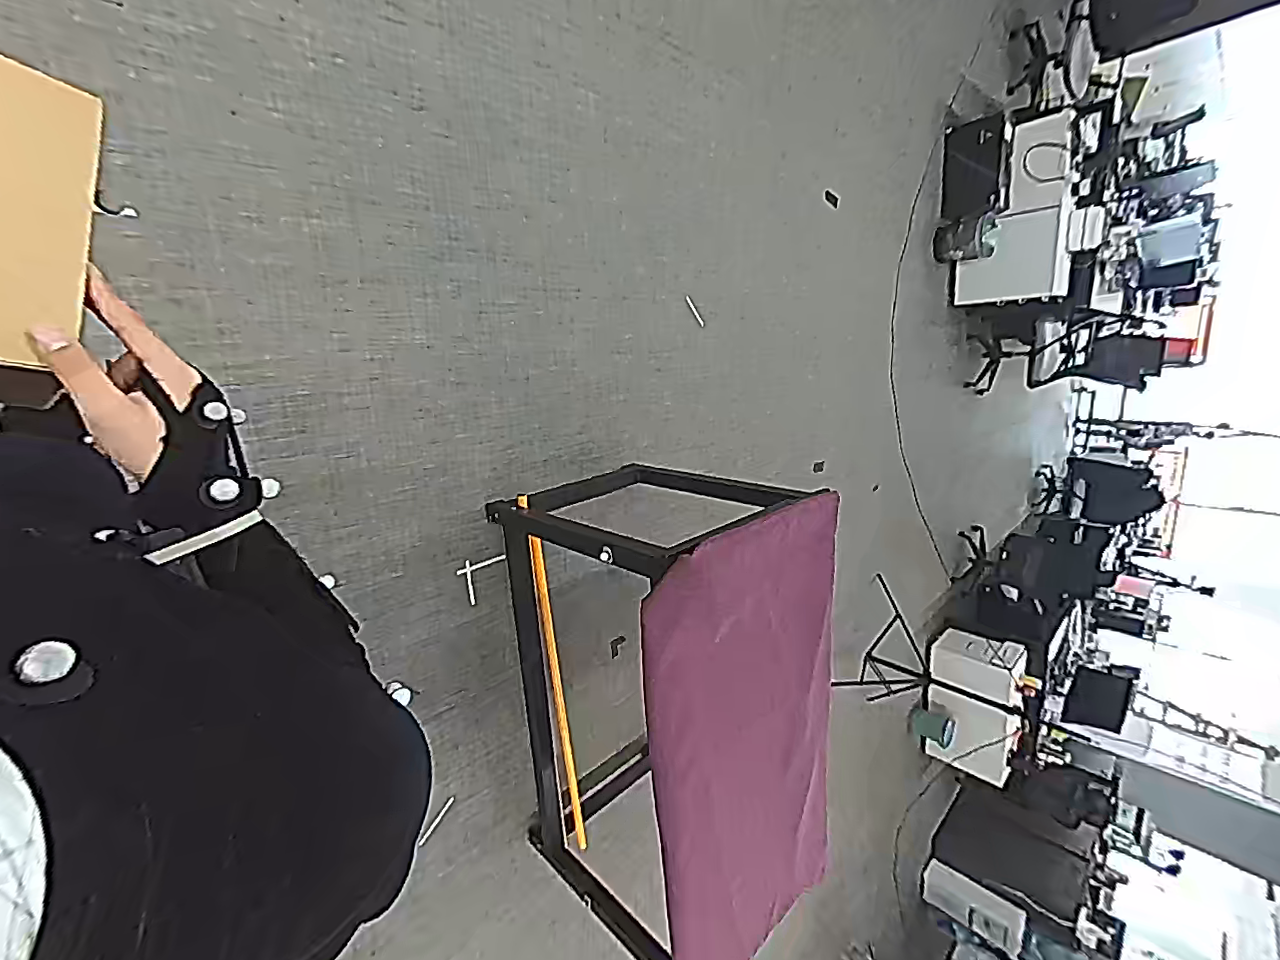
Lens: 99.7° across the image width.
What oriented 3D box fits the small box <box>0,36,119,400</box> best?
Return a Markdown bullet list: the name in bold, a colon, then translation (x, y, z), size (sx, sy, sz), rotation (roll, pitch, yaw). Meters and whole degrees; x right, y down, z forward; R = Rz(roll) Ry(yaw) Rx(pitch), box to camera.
- **small box**: translation (-0.435, -0.155, 0.308), size (0.168, 0.176, 0.179), rotation (8, 81, -51)
